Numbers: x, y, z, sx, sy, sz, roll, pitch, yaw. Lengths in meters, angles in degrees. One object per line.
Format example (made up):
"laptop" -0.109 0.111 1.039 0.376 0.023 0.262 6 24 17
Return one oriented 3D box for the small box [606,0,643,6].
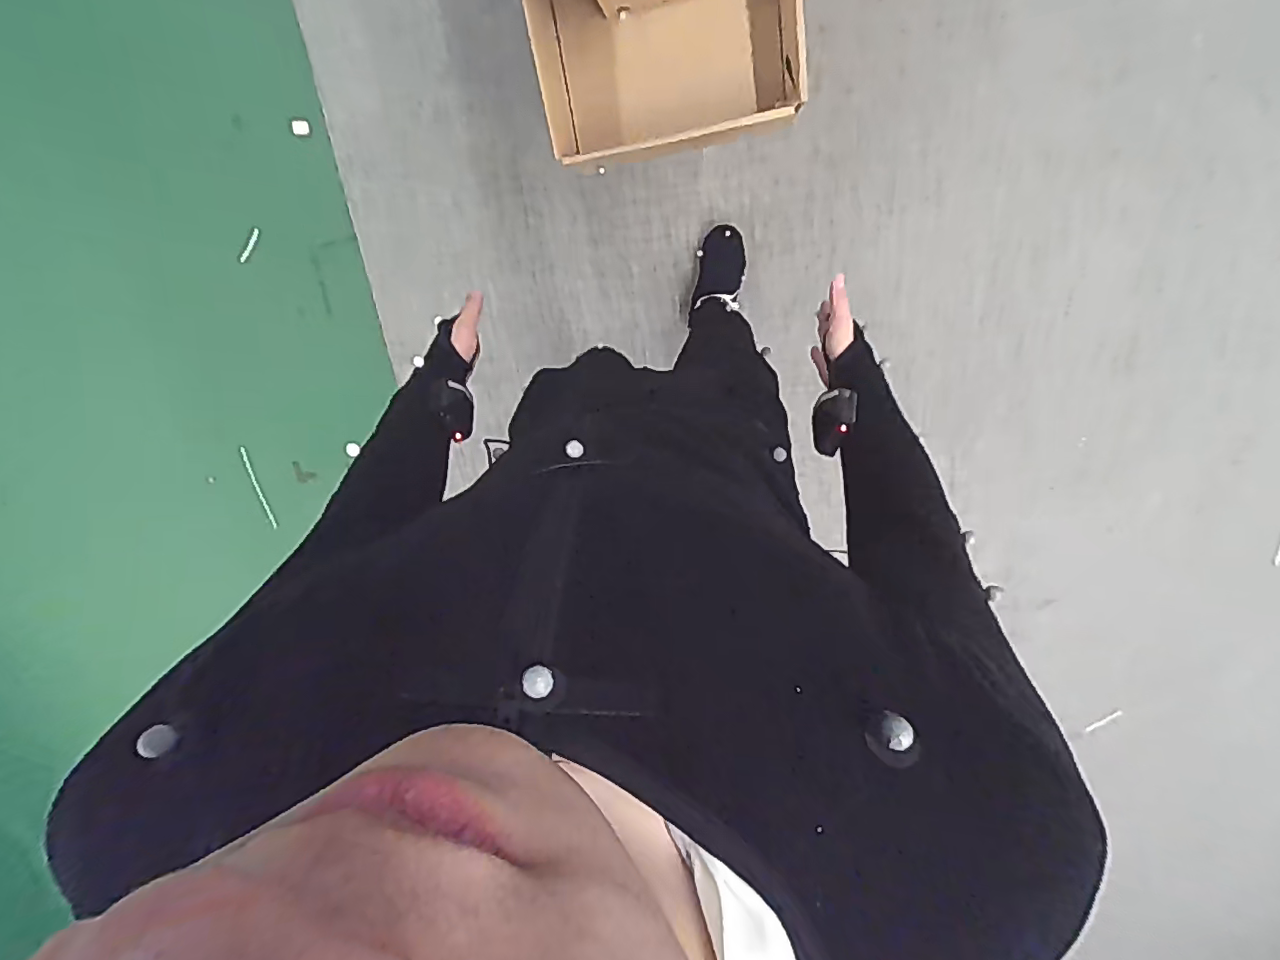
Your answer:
"small box" 0.002 -0.824 0.775 0.168 0.176 0.179 -5 112 10
